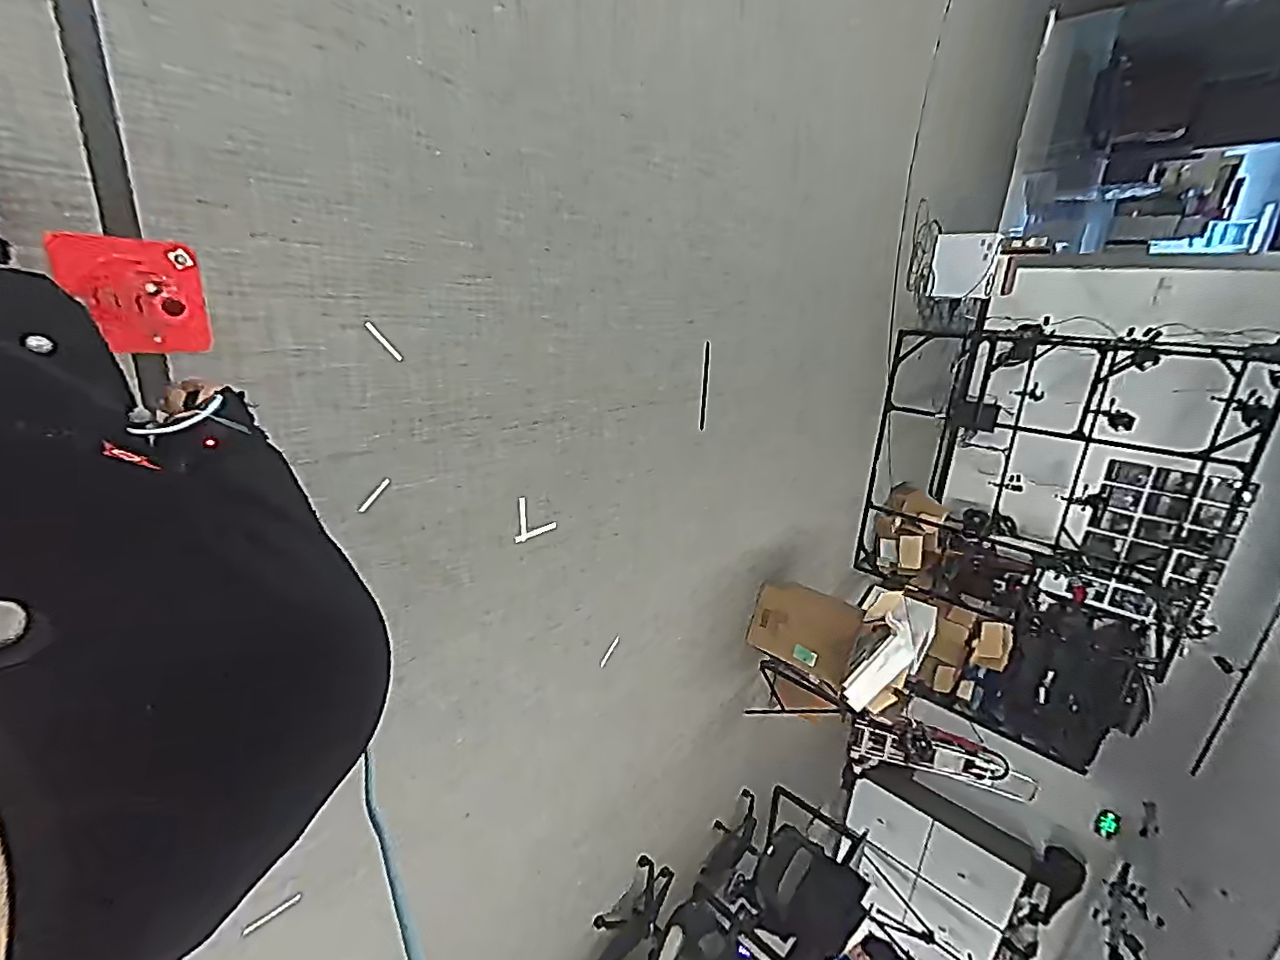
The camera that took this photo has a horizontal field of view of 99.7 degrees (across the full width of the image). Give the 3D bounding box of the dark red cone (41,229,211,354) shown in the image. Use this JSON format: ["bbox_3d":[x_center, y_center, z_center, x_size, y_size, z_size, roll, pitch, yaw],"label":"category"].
[{"bbox_3d":[-0.787,-0.286,0.864,0.201,0.394,0.202,-17,118,-45],"label":"dark red cone"}]
